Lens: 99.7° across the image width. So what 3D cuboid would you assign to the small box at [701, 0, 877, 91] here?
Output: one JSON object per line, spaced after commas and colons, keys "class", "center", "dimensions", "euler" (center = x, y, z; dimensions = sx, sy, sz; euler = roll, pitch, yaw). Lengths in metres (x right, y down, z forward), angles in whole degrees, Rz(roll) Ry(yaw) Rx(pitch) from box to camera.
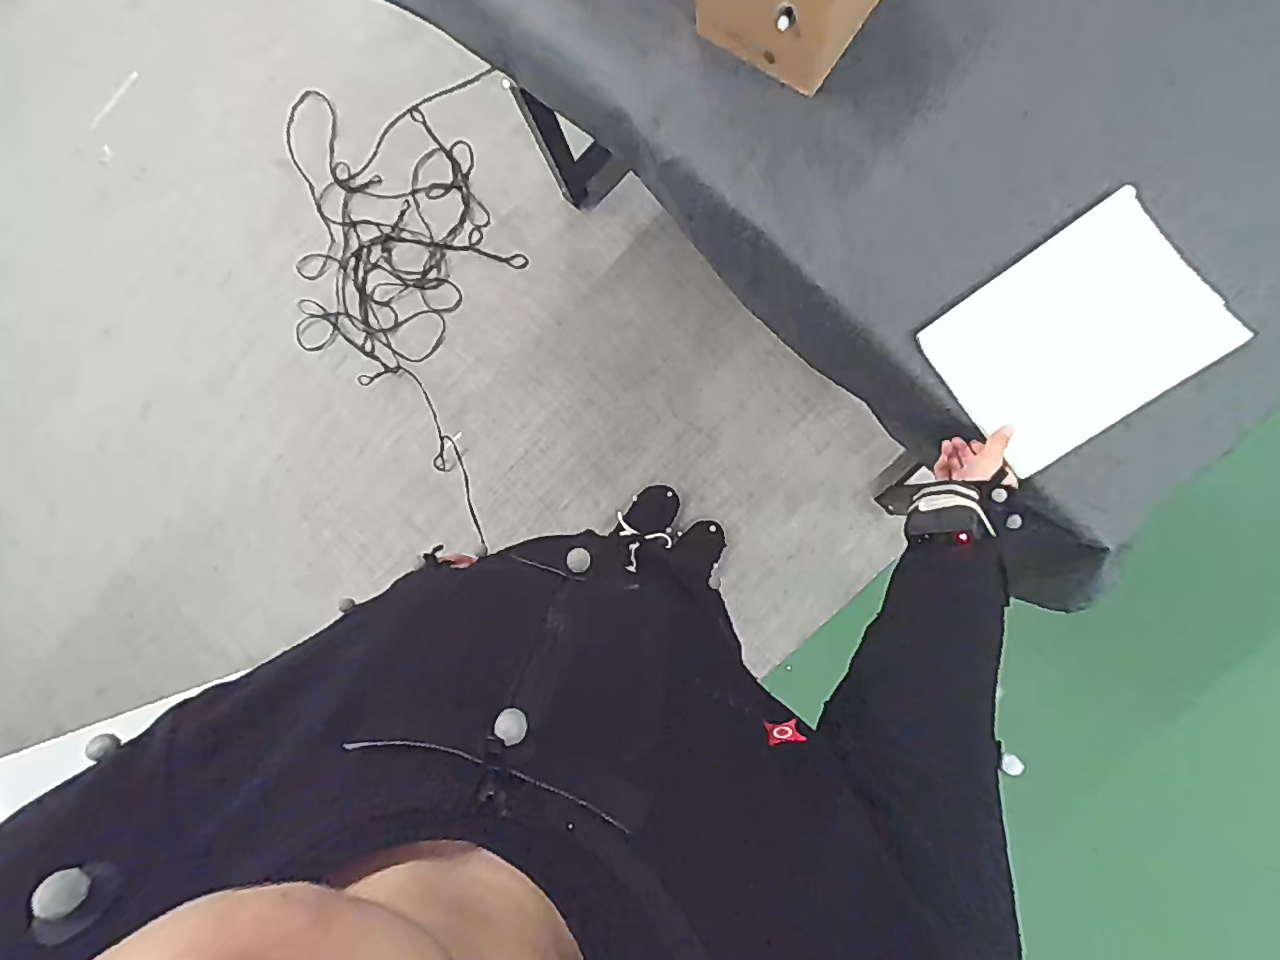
{"class": "small box", "center": [0.173, -0.567, 0.564], "dimensions": [0.168, 0.176, 0.179], "euler": [35, 91, 6]}
